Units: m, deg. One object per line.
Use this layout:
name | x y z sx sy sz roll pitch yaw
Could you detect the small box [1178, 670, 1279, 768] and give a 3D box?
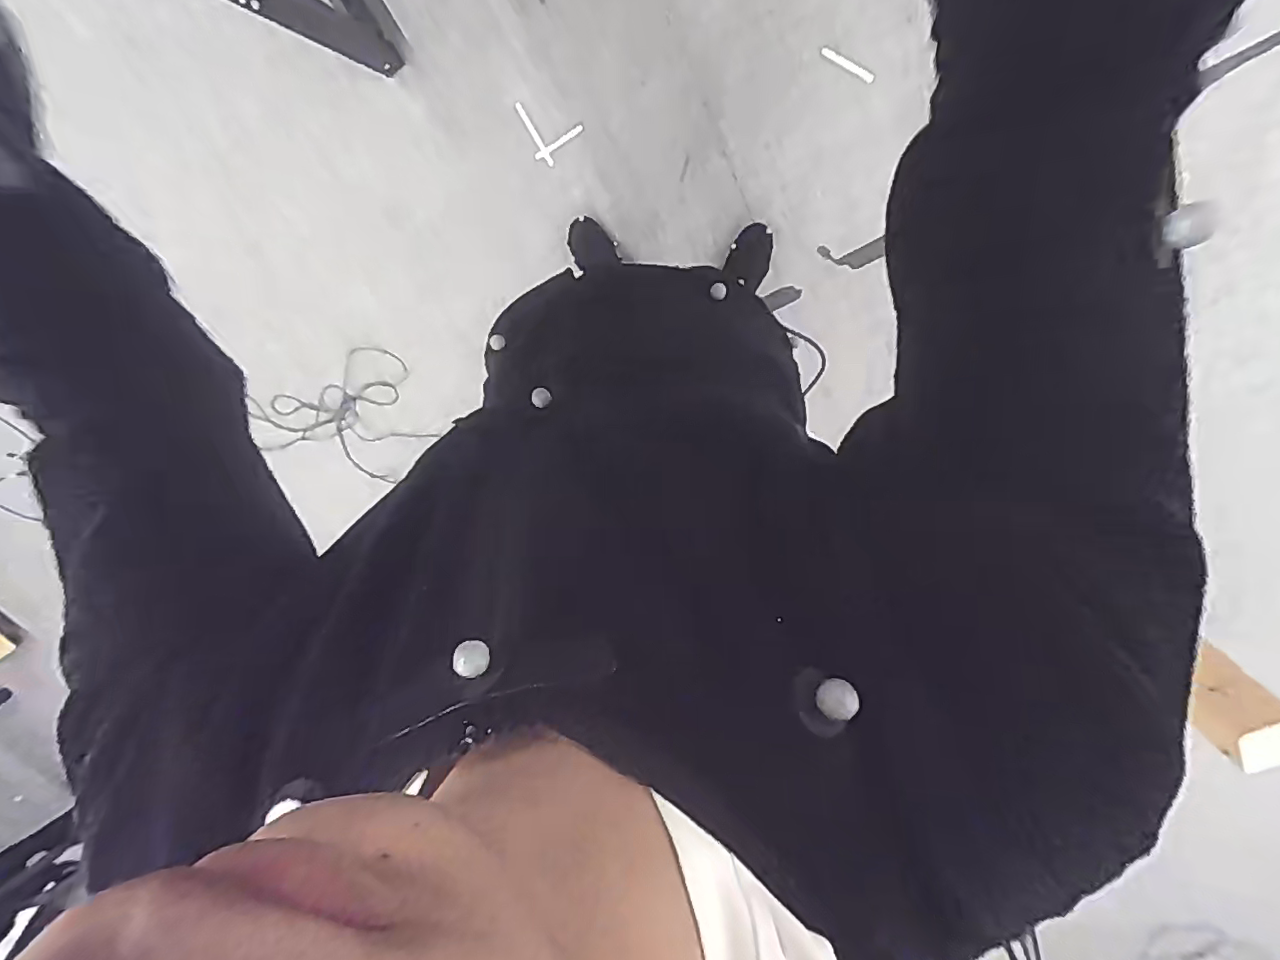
small box | 1.750 0.699 1.590 0.168 0.176 0.179 -28 112 13
